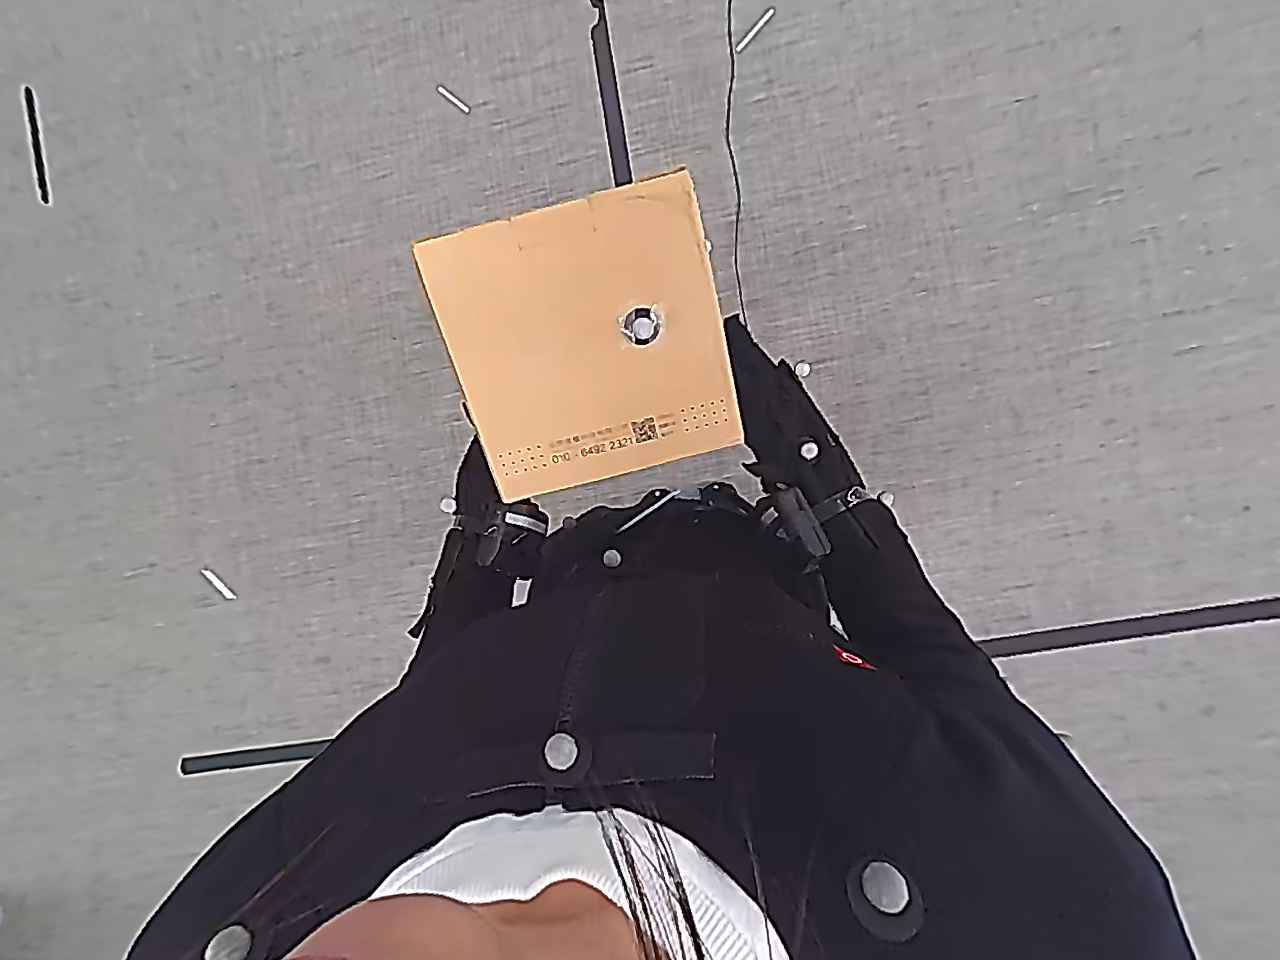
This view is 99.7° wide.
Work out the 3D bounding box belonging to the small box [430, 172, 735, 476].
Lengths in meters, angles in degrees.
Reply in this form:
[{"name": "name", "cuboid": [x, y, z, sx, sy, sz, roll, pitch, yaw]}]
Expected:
[{"name": "small box", "cuboid": [-0.030, -0.112, 0.424, 0.168, 0.179, 0.176, -13, 109, 4]}]
